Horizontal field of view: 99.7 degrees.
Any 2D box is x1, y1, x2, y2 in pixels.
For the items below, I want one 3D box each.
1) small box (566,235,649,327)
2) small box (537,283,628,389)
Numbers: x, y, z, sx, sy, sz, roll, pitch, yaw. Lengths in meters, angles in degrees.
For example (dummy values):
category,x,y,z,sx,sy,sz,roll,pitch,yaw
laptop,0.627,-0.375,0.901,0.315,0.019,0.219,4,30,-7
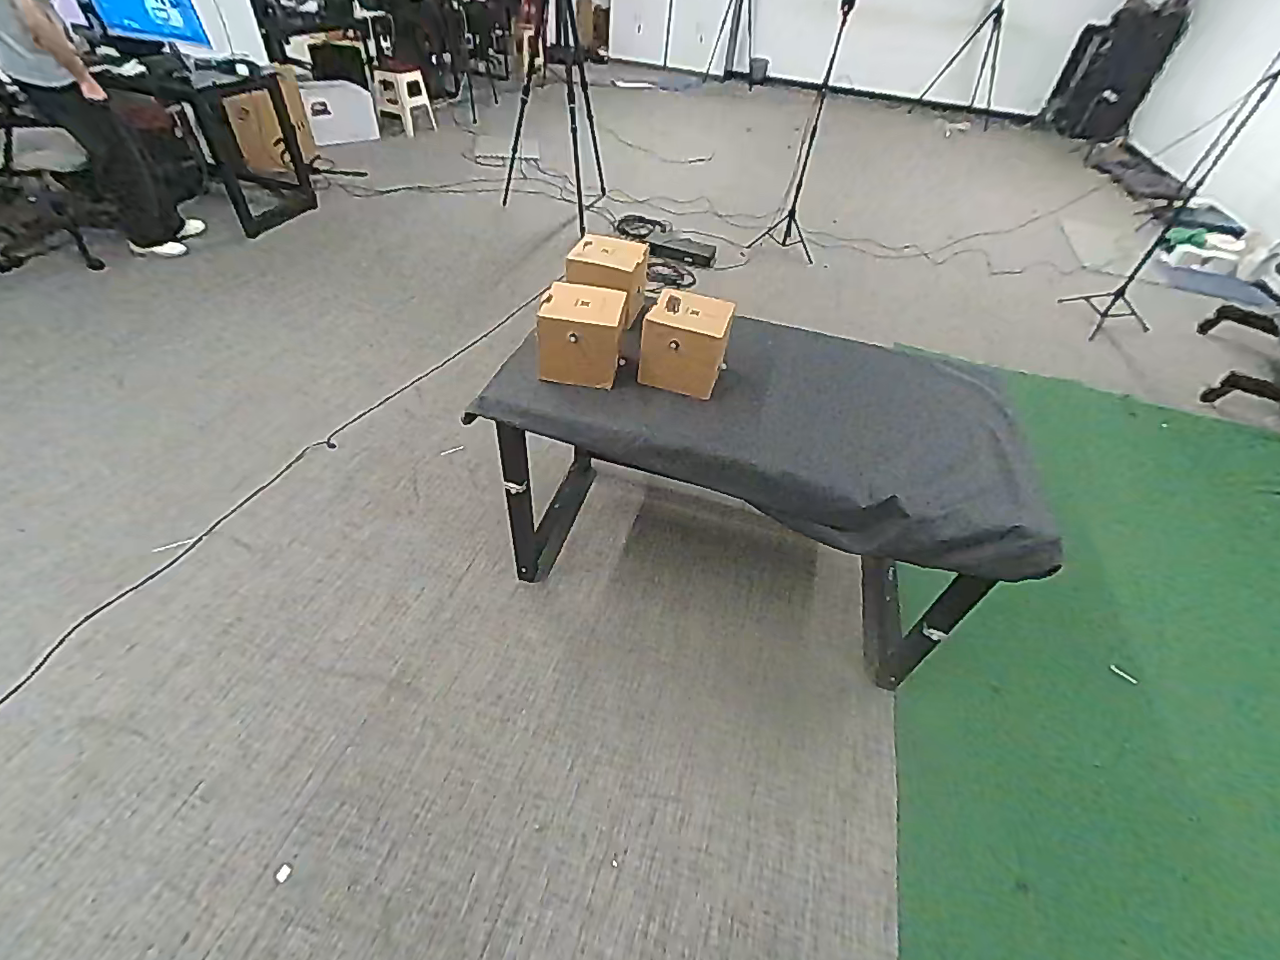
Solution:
category,x,y,z,sx,sy,sz,roll,pitch,yaw
small box,-0.087,-0.524,1.447,0.179,0.176,0.168,15,46,7
small box,-0.132,-0.330,1.253,0.179,0.176,0.168,9,46,0
